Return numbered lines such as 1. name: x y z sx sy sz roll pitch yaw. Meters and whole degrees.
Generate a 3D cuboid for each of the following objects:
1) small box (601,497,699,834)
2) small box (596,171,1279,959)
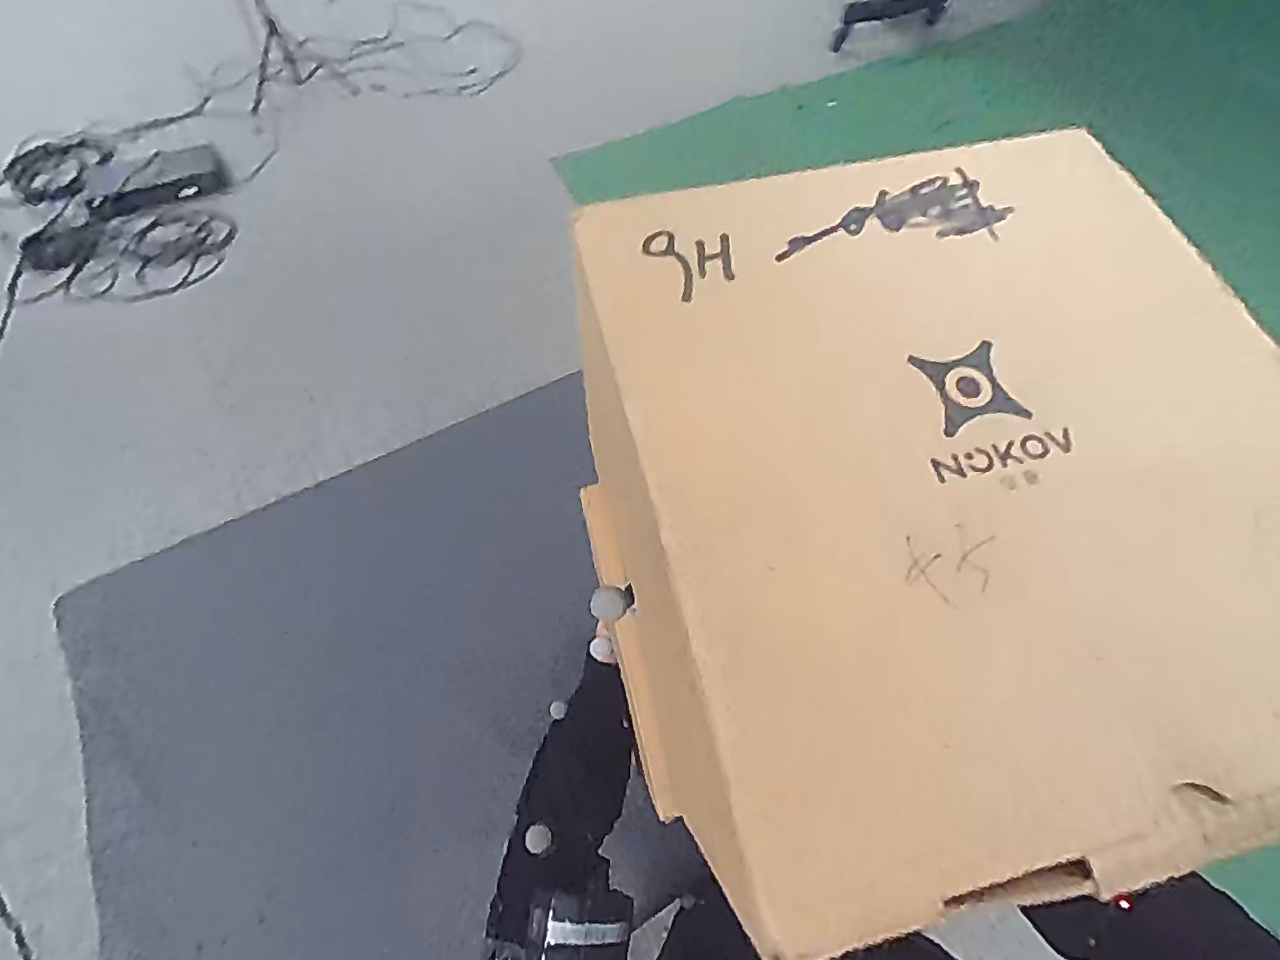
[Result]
1. small box: 0.076 0.097 0.353 0.179 0.176 0.168 -12 70 -6
2. small box: 0.083 0.027 0.205 0.168 0.176 0.179 -11 70 -7
